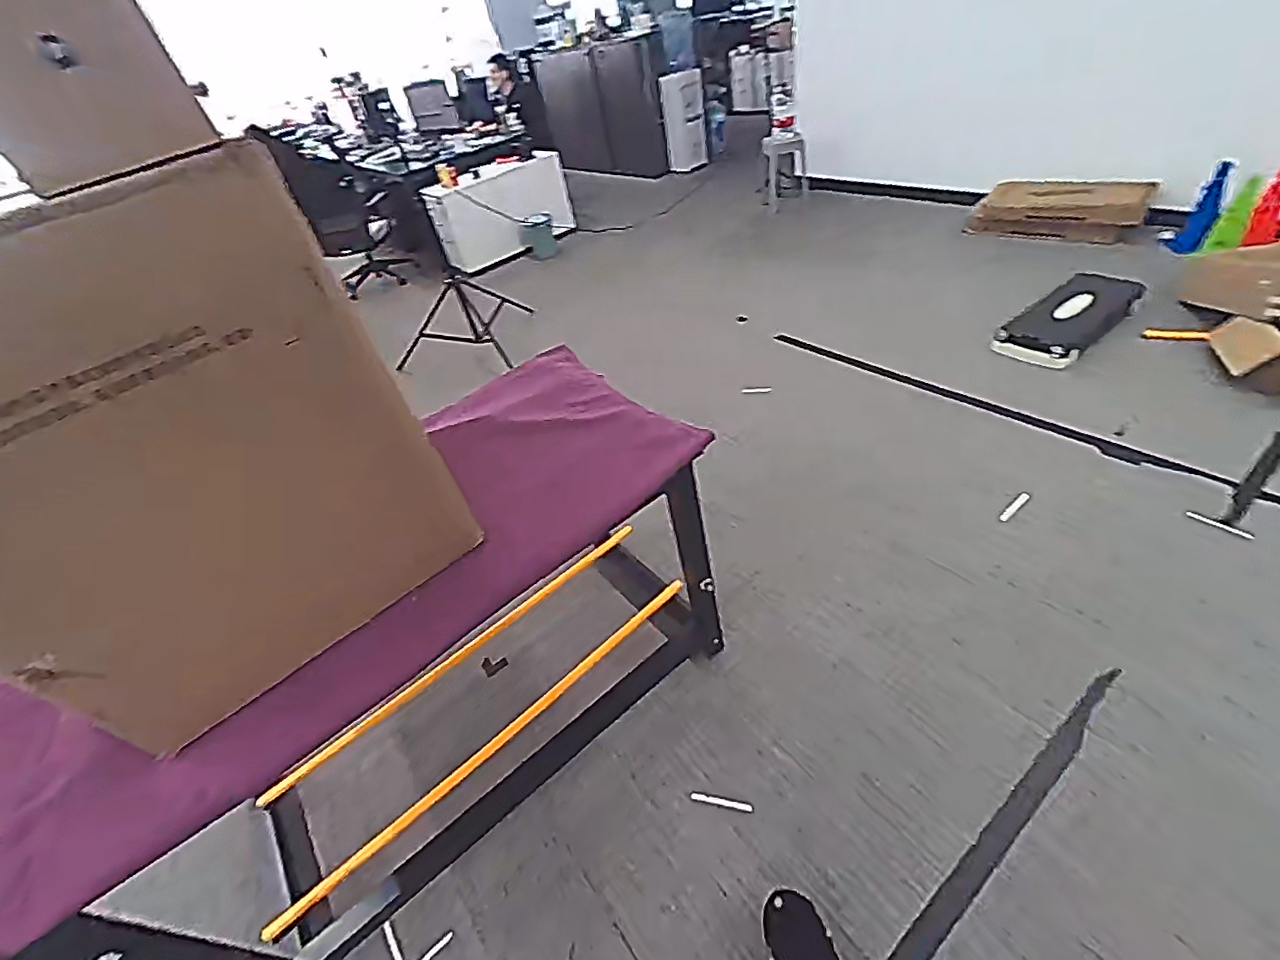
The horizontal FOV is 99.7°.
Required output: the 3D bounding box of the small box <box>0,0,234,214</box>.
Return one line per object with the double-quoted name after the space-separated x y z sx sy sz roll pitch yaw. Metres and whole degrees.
-0.531 -0.376 0.508 0.168 0.176 0.179 -34 46 -21 "small box"
